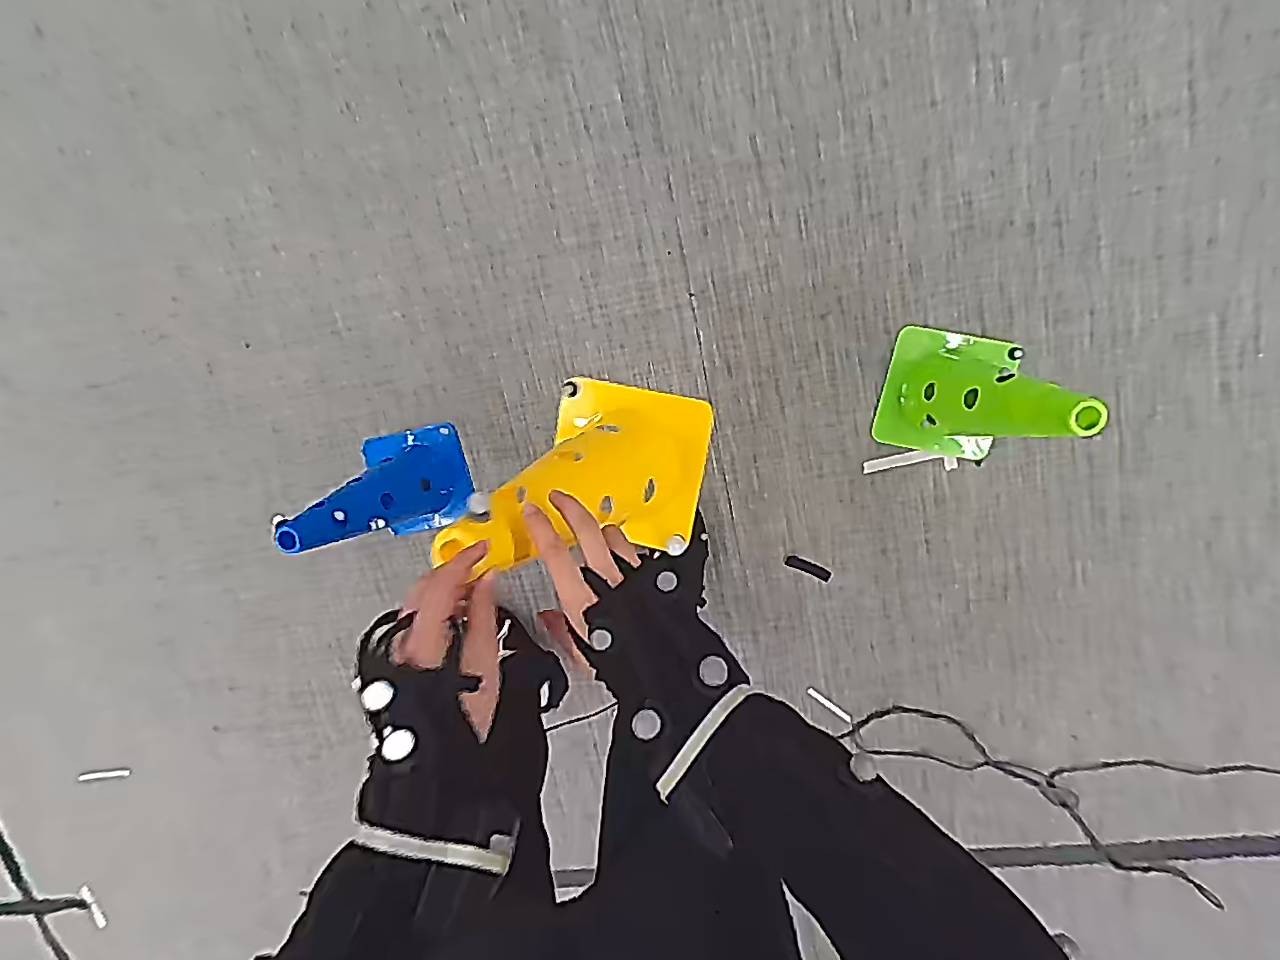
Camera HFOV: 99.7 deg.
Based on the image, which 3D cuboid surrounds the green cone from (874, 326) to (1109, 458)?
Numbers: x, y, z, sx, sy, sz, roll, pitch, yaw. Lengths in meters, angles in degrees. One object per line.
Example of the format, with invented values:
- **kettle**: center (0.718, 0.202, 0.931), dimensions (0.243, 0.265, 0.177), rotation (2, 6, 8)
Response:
- **green cone**: center (0.494, -0.105, 0.743), dimensions (0.200, 0.368, 0.202), rotation (10, 105, 4)
